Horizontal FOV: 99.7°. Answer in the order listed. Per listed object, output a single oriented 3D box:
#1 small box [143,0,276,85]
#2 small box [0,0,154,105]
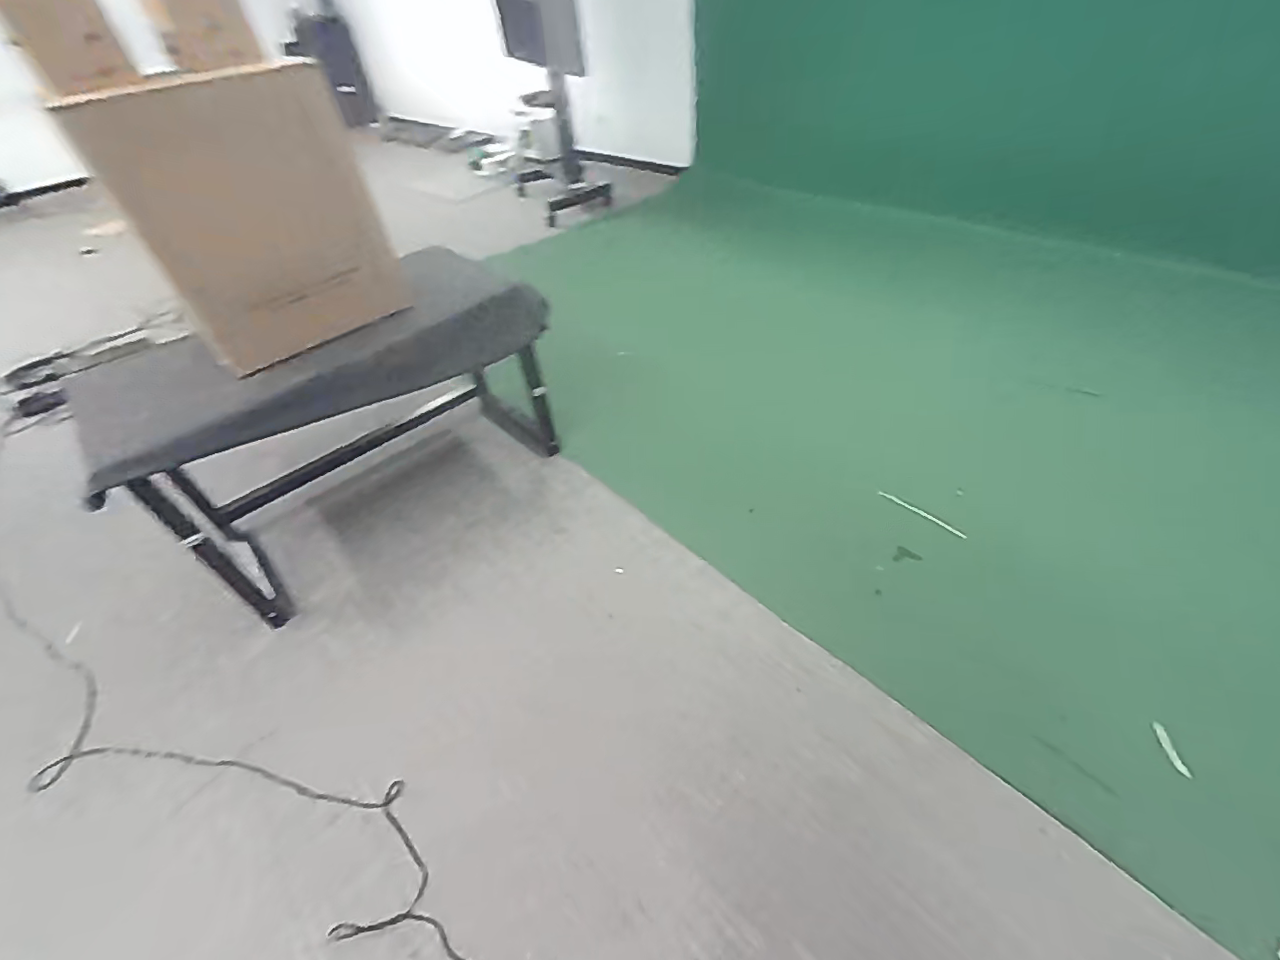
[{"bbox_3d":[-0.995,-1.038,1.258,0.179,0.176,0.168,31,56,31],"label":"small box"},{"bbox_3d":[-1.167,-0.893,1.114,0.179,0.176,0.168,26,54,27],"label":"small box"}]
